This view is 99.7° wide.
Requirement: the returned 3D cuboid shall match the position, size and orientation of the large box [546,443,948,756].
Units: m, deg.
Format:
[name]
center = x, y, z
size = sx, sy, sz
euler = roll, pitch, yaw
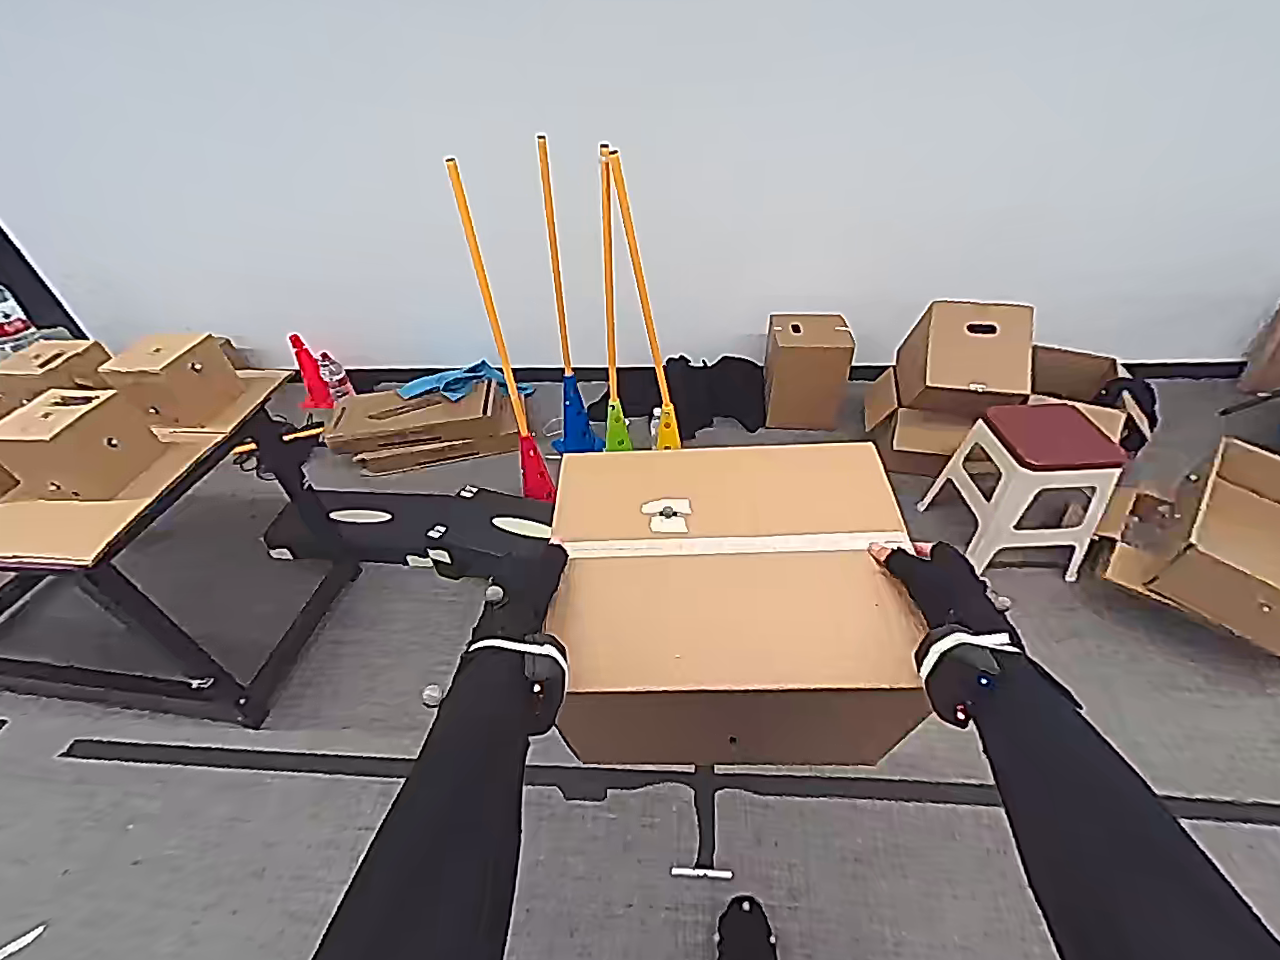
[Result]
[large box]
center = 0.115, 0.174, 0.739
size = 0.408, 0.320, 0.320
euler = -3, 50, 4
